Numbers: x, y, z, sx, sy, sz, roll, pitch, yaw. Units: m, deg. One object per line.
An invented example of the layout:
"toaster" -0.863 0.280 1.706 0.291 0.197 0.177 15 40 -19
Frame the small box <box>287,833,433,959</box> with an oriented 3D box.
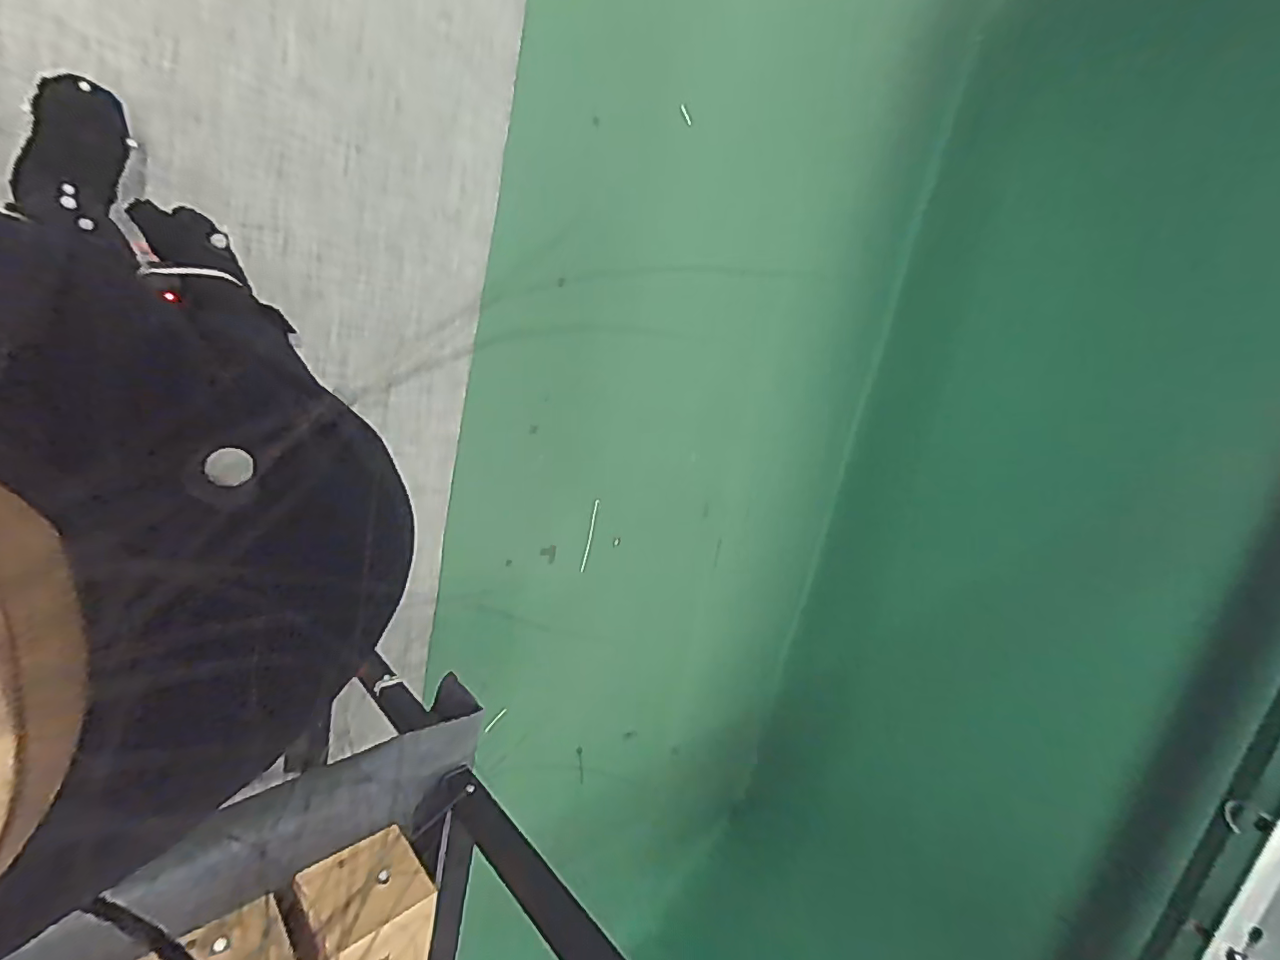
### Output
"small box" -0.470 0.738 0.903 0.168 0.176 0.179 -3 111 -48
